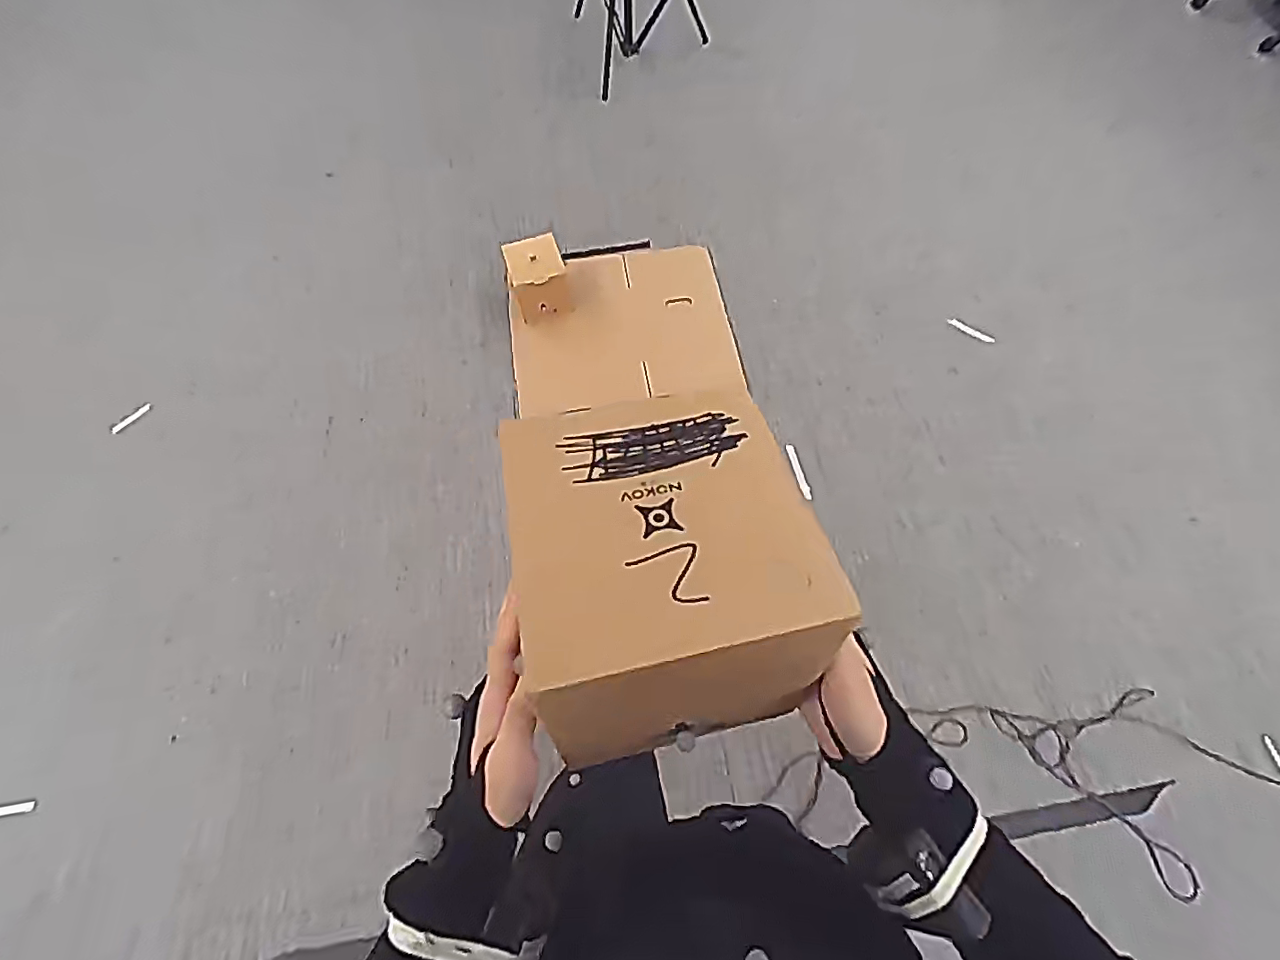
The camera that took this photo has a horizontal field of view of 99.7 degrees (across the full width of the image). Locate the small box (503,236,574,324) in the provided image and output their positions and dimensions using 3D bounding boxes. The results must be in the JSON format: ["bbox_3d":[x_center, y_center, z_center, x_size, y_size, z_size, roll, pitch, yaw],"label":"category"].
[{"bbox_3d":[-0.318,-0.629,1.709,0.168,0.176,0.179,-18,68,-7],"label":"small box"}]
